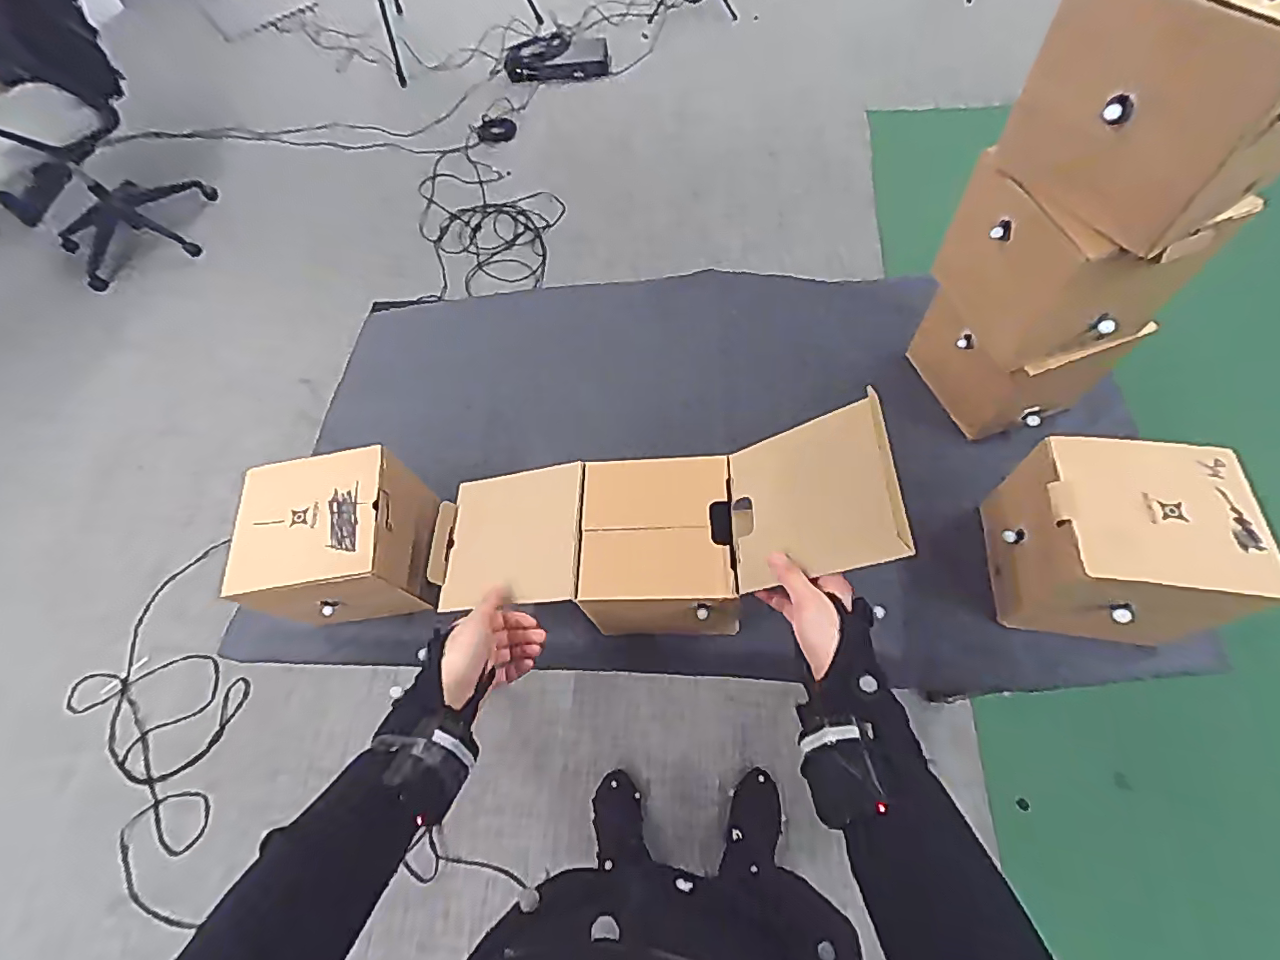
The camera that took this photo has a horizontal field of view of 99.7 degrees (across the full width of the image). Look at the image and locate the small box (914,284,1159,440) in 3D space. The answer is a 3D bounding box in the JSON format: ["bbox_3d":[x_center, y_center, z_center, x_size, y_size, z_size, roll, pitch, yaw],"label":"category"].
[{"bbox_3d":[0.506,-0.184,0.728,0.168,0.176,0.179,-20,64,-1],"label":"small box"}]

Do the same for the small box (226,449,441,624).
[{"bbox_3d":[-0.374,0.081,0.699,0.179,0.176,0.168,-10,63,2],"label":"small box"}]

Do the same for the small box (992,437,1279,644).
[{"bbox_3d":[0.516,0.072,0.594,0.179,0.176,0.168,5,61,11],"label":"small box"}]

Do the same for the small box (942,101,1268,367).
[{"bbox_3d":[0.465,-0.255,0.584,0.168,0.176,0.179,-17,63,2],"label":"small box"}]
